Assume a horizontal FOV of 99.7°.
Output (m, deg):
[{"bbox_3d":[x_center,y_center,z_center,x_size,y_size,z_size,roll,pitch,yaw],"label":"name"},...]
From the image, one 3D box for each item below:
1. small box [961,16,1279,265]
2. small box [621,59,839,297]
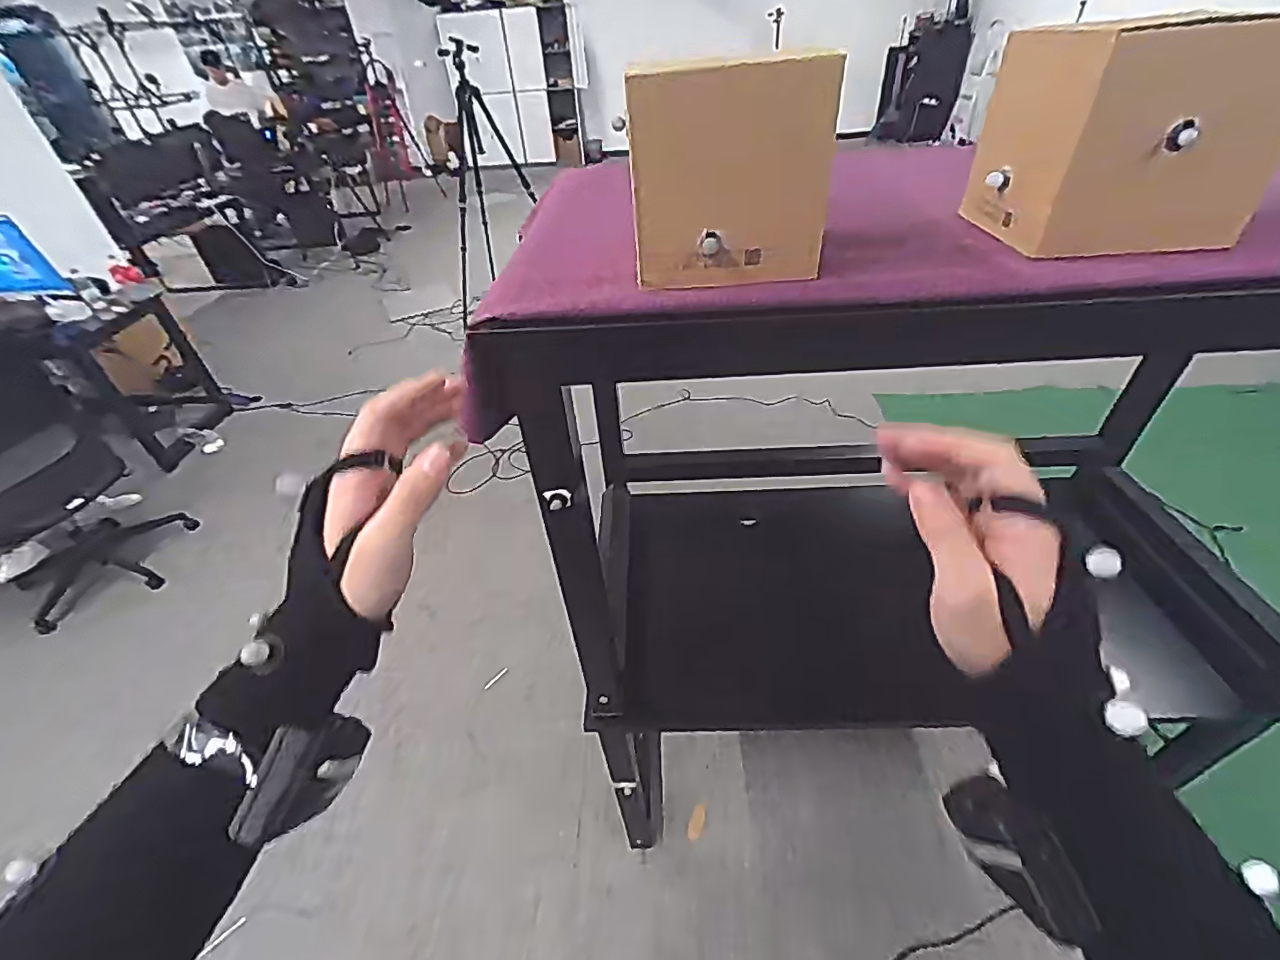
[{"bbox_3d":[0.440,-0.314,0.504,0.179,0.176,0.168,-3,39,5],"label":"small box"},{"bbox_3d":[0.072,-0.289,0.516,0.168,0.176,0.179,-4,39,3],"label":"small box"}]
